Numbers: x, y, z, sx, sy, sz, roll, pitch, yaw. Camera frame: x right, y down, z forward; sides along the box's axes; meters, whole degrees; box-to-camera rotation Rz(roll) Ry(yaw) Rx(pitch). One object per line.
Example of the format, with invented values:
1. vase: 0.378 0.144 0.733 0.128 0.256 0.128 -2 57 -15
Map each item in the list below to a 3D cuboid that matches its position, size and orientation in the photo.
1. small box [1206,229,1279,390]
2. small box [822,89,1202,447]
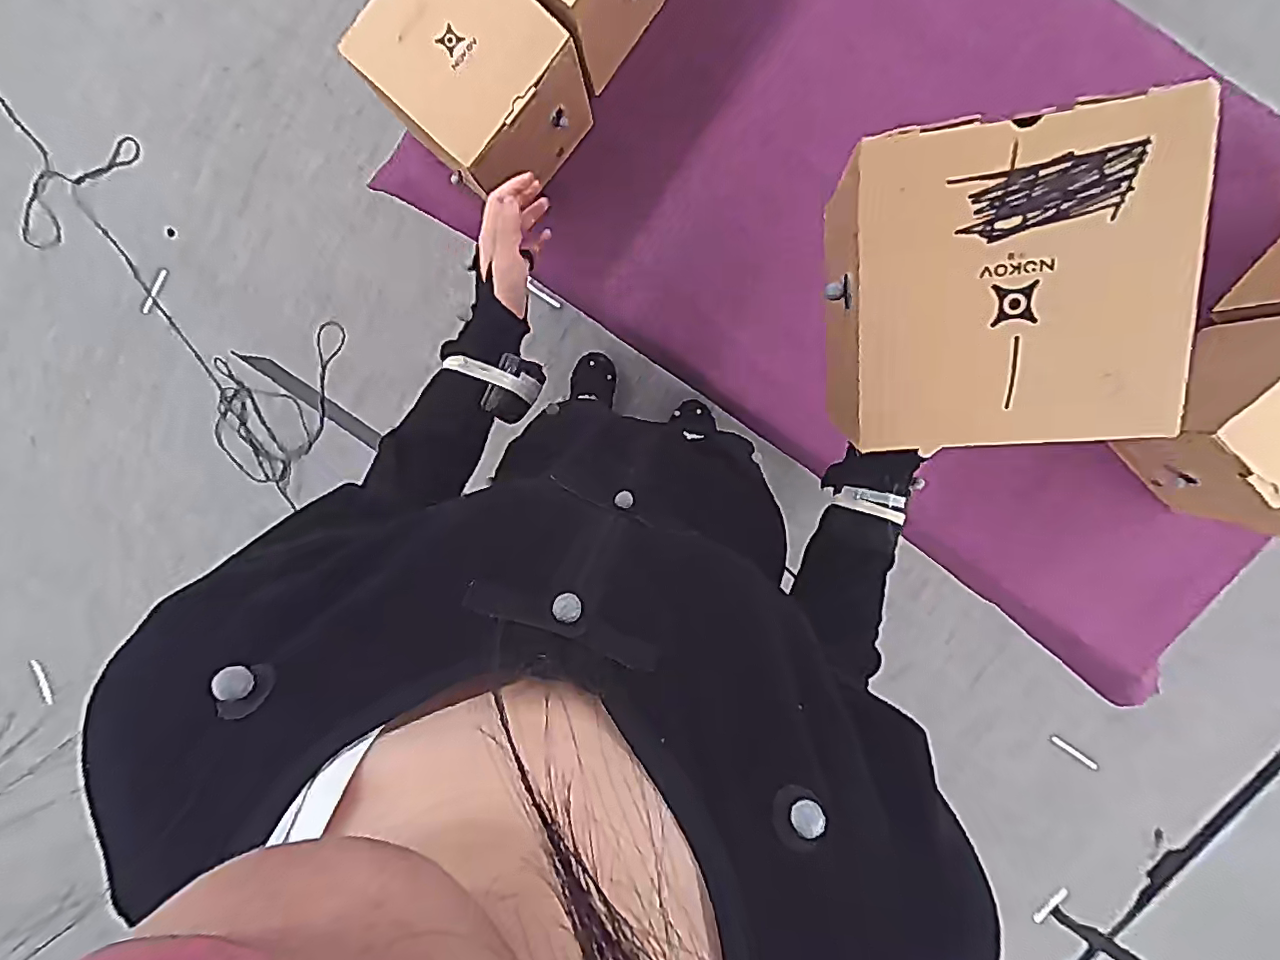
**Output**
1. small box: 0.803 -0.209 0.584 0.168 0.176 0.179 38 98 -3
2. small box: 0.223 -0.125 0.378 0.168 0.176 0.179 -3 103 13
